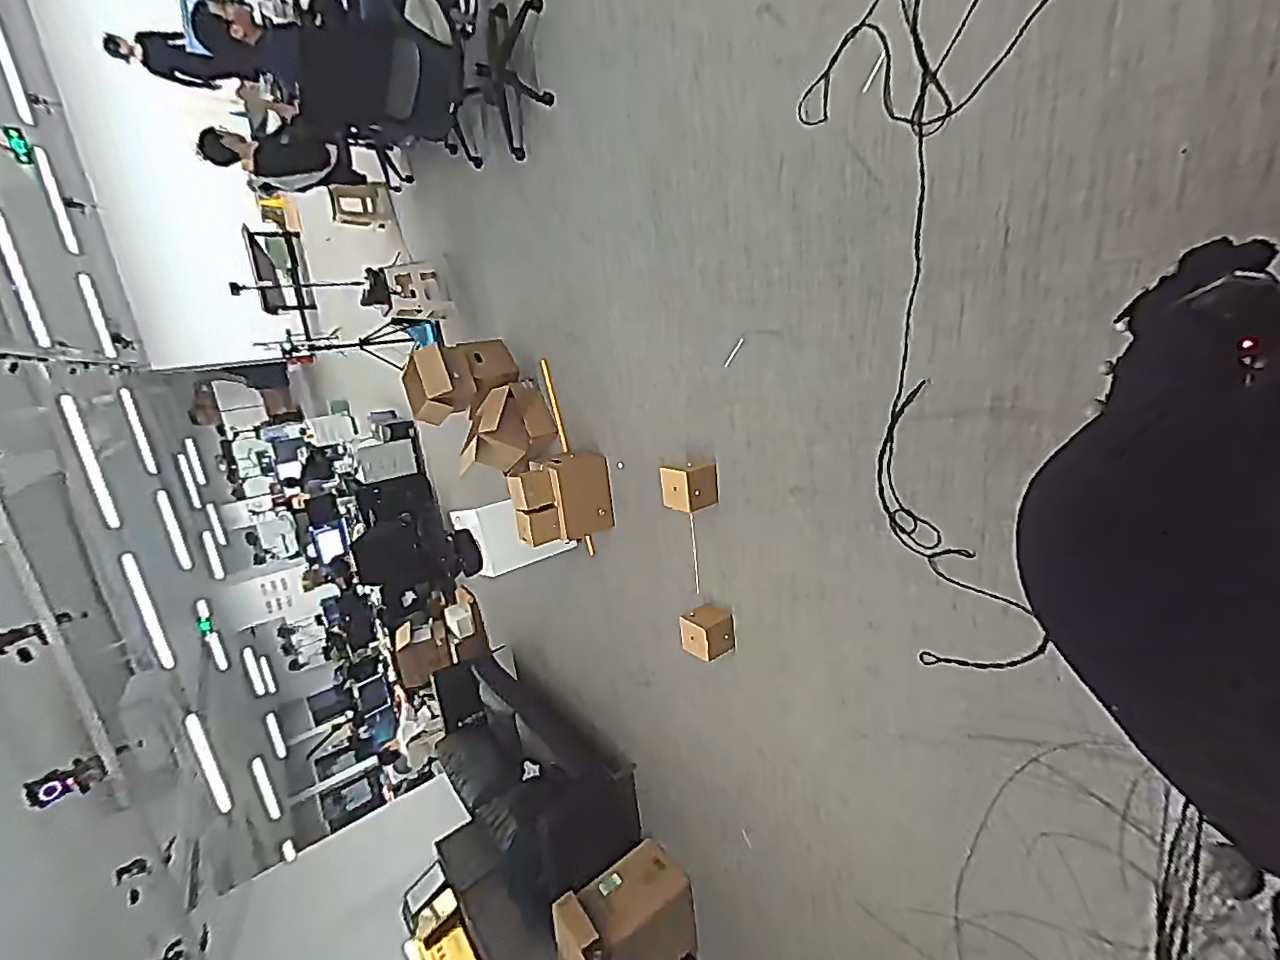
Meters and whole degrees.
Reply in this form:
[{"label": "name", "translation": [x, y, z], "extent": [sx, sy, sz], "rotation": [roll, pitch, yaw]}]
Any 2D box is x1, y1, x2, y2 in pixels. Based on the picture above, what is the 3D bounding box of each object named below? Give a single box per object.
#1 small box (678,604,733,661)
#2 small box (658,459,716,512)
[{"label": "small box", "translation": [0.295, 0.675, 2.427], "extent": [0.179, 0.176, 0.168], "rotation": [12, 114, 52]}, {"label": "small box", "translation": [0.200, 0.016, 2.264], "extent": [0.168, 0.176, 0.179], "rotation": [12, 115, 51]}]
